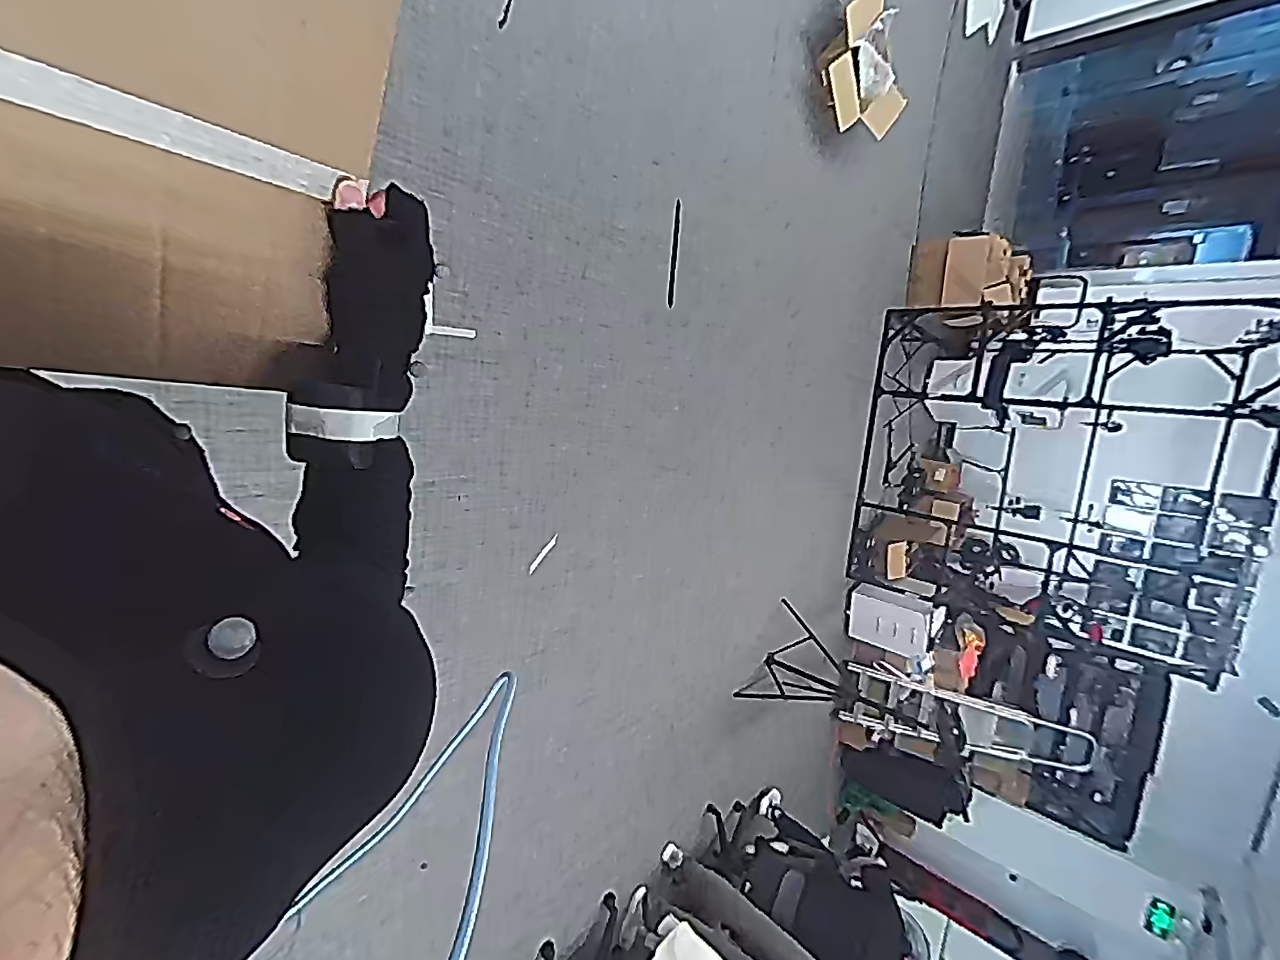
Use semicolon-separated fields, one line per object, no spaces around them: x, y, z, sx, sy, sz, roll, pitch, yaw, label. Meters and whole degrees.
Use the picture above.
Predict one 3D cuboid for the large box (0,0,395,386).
-0.420;-0.282;0.316;0.408;0.320;0.320;-1;129;-45;large box
